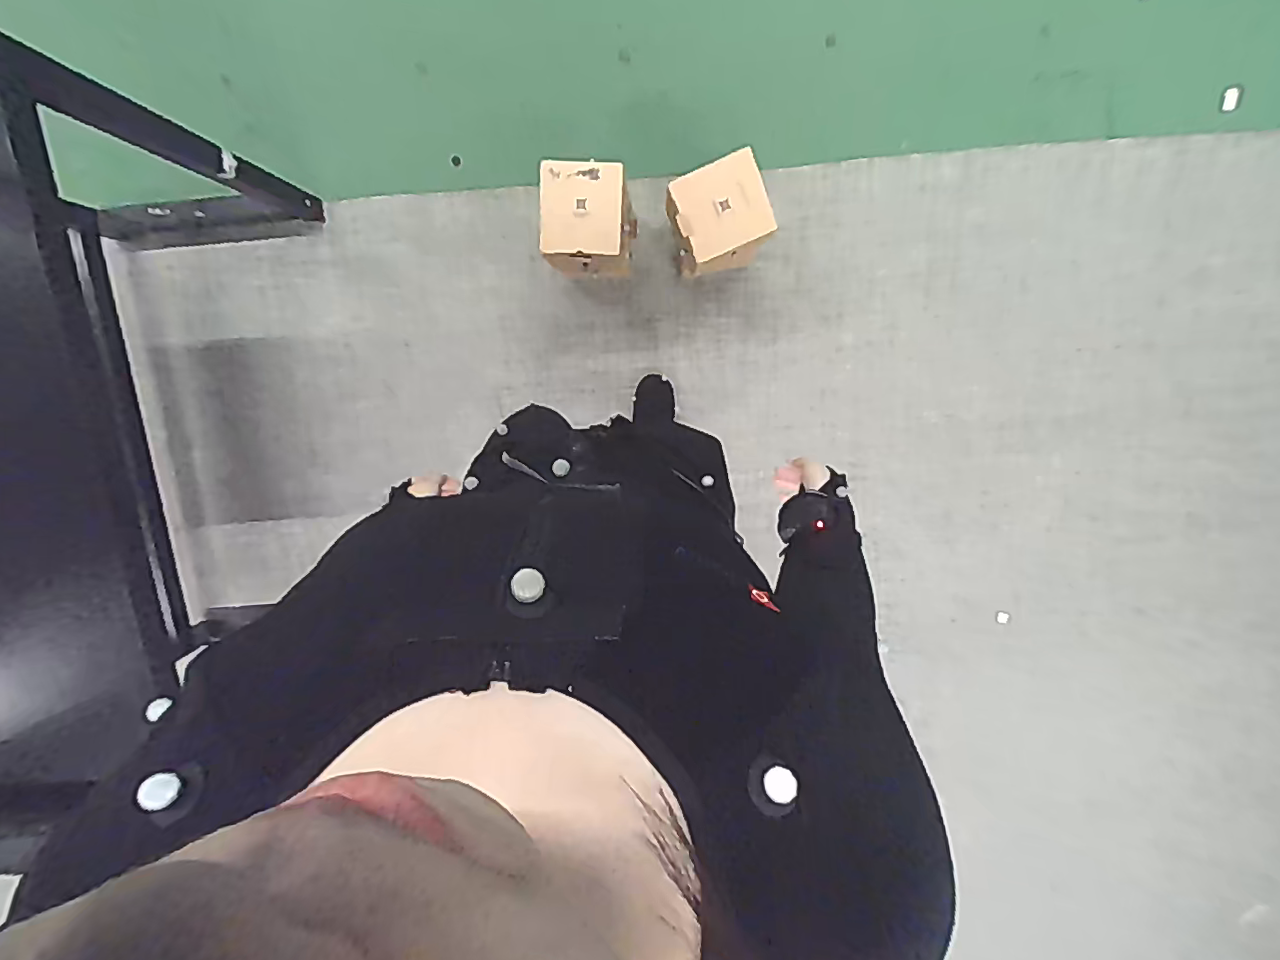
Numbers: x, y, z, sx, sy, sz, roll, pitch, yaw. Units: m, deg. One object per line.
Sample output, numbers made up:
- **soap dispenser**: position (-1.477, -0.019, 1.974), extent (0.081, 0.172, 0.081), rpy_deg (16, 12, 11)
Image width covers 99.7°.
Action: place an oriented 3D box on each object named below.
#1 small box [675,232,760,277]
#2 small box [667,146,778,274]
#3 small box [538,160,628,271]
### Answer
- **small box**: position (0.175, -0.594, 1.289), extent (0.179, 0.176, 0.168), rpy_deg (-10, 101, 3)
- **small box**: position (0.164, -0.551, 1.133), extent (0.179, 0.176, 0.168), rpy_deg (-23, 102, 5)
- **small box**: position (-0.114, -0.547, 1.139), extent (0.168, 0.176, 0.179), rpy_deg (3, 101, 2)
